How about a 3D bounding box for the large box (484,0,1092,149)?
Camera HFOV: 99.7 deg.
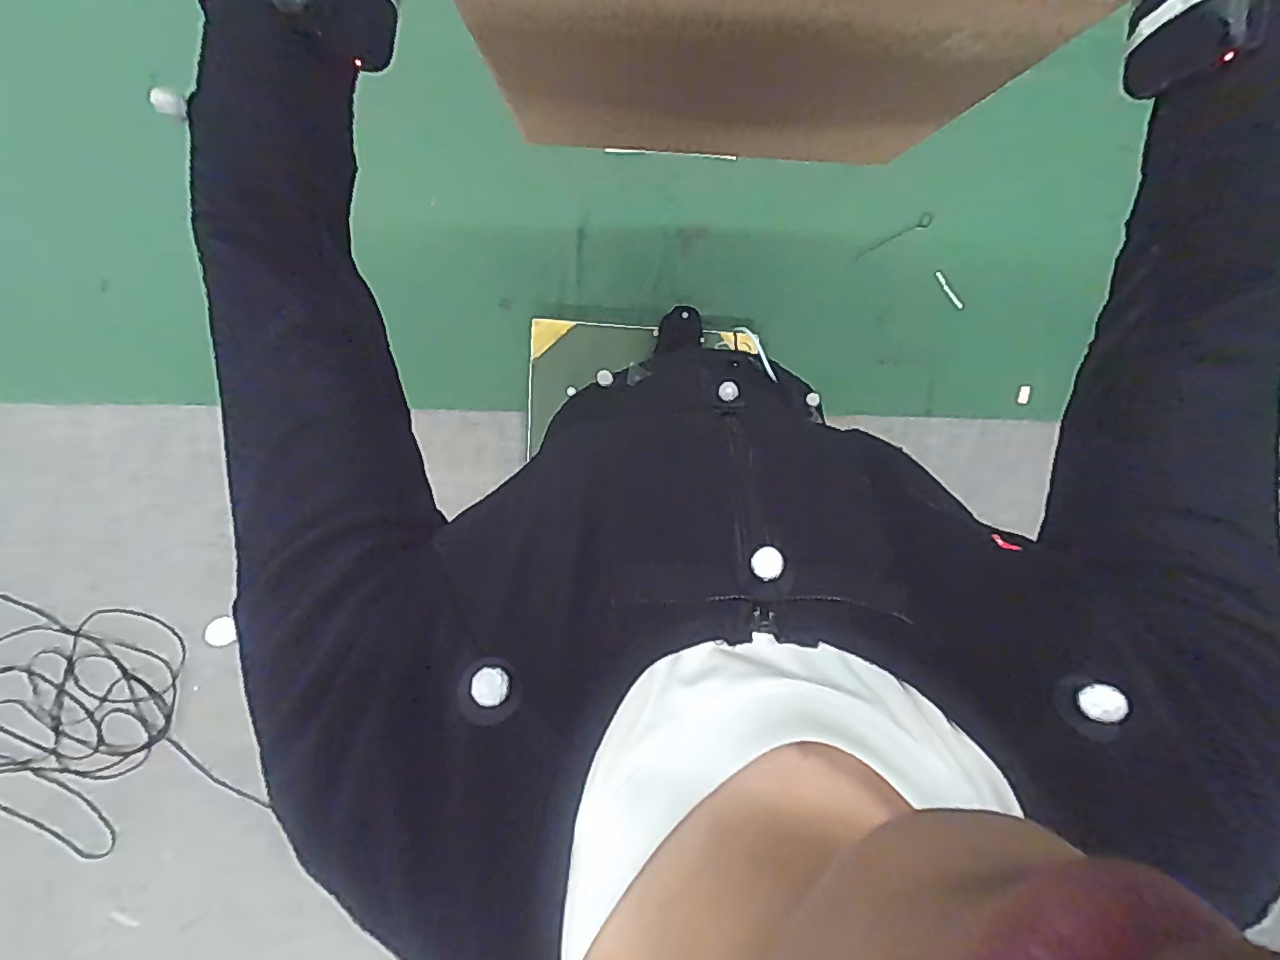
[{"bbox_3d":[0.090,-0.479,0.416,0.408,0.320,0.320,1,105,-3],"label":"large box"}]
